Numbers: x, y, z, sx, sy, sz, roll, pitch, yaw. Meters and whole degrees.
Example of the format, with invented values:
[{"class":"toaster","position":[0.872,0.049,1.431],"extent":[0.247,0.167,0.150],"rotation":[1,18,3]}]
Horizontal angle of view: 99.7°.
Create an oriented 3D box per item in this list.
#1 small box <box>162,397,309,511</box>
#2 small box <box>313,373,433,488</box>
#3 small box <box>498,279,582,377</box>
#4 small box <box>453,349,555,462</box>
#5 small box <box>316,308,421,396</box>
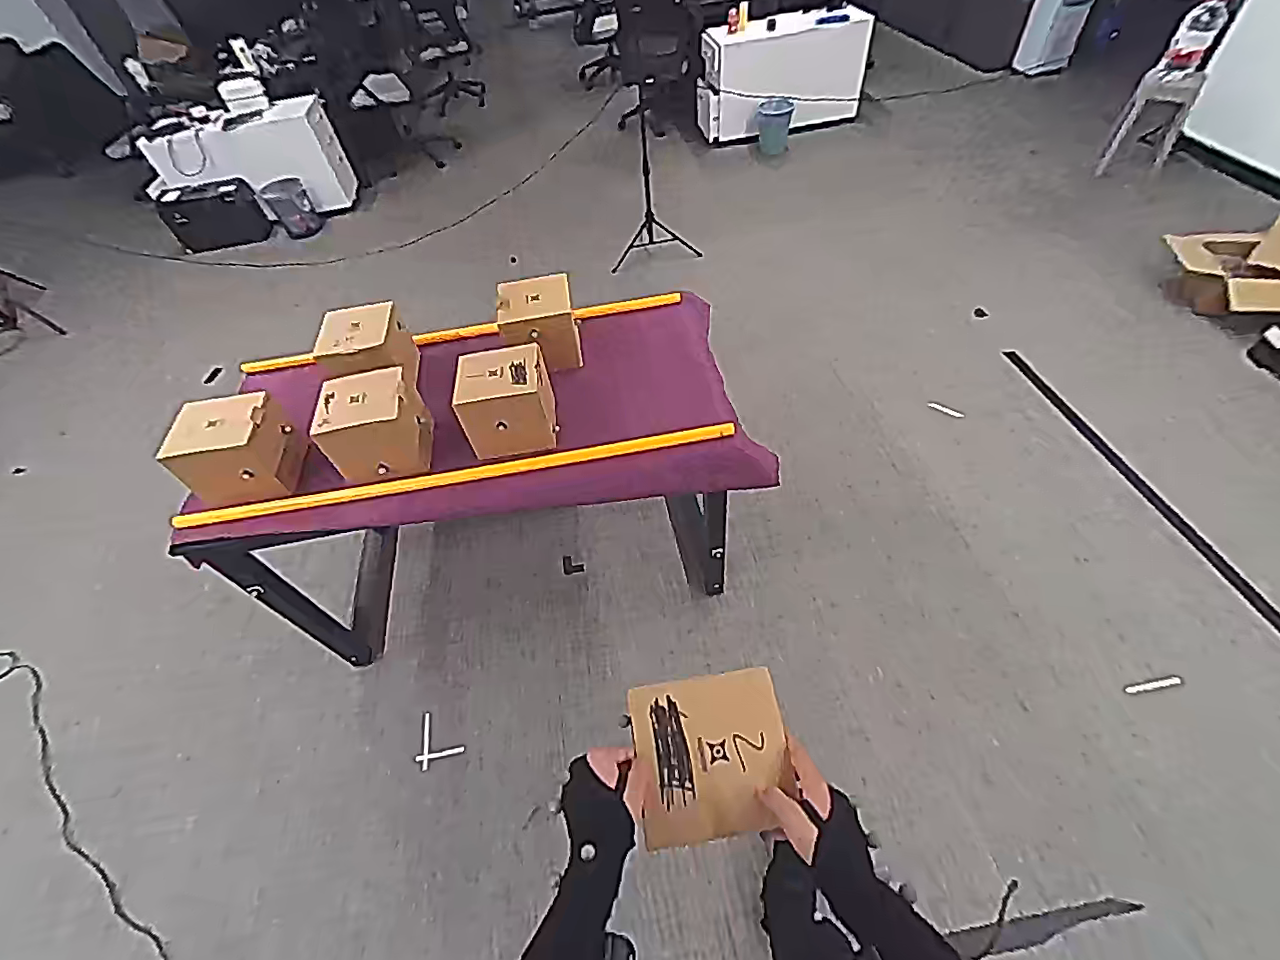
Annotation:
[{"class":"small box","position":[-0.858,-0.054,1.172],"extent":[0.179,0.176,0.168],"rotation":[-10,50,-4]},{"class":"small box","position":[-0.567,-0.105,1.179],"extent":[0.179,0.176,0.168],"rotation":[-11,51,-2]},{"class":"small box","position":[-0.246,-0.373,1.355],"extent":[0.179,0.176,0.168],"rotation":[-11,52,-1]},{"class":"small box","position":[-0.288,-0.160,1.188],"extent":[0.179,0.176,0.168],"rotation":[-9,49,1]},{"class":"small box","position":[-0.662,-0.298,1.345],"extent":[0.168,0.176,0.179],"rotation":[-10,53,-1]}]
